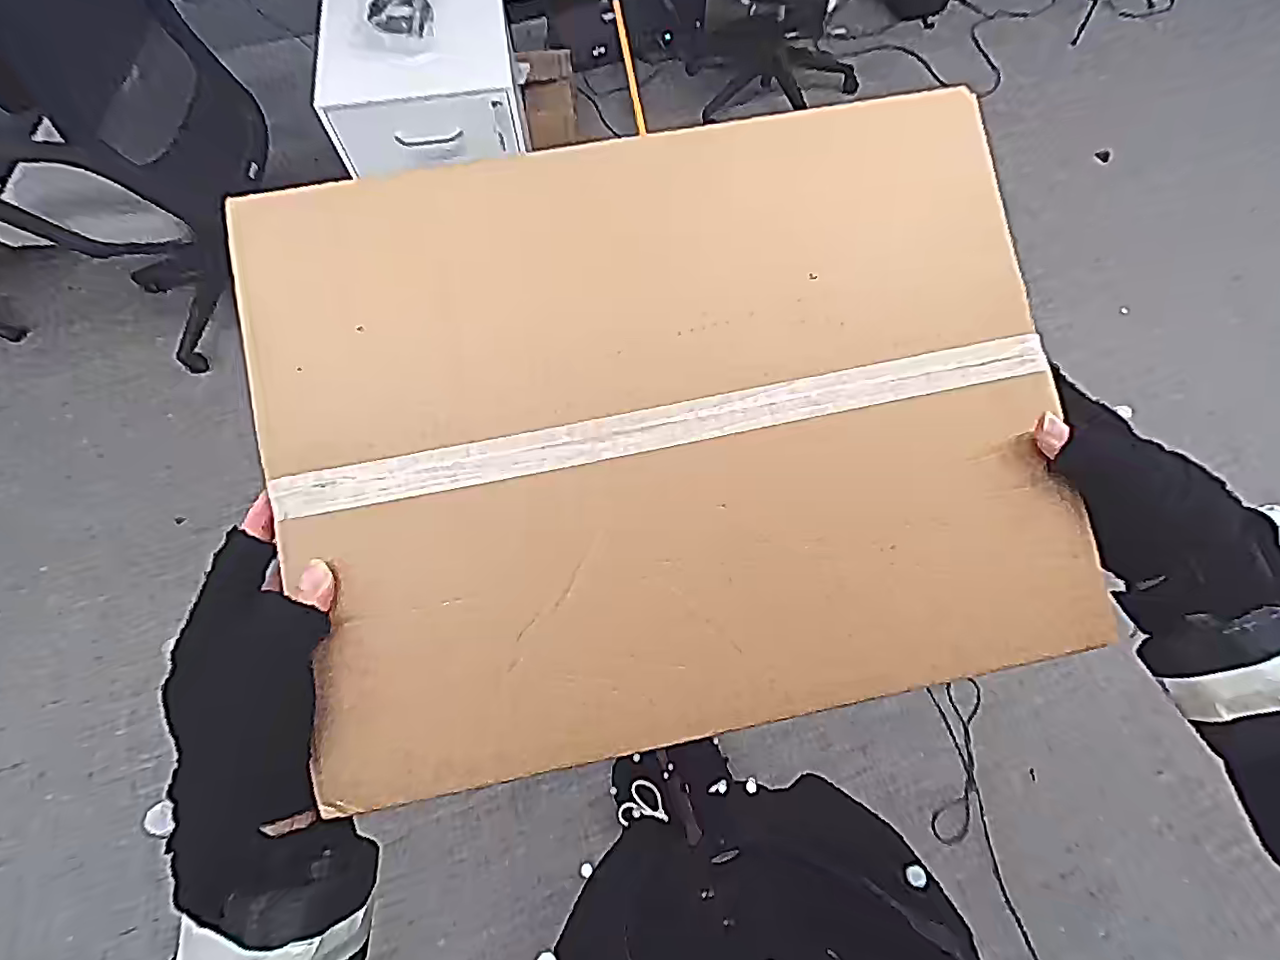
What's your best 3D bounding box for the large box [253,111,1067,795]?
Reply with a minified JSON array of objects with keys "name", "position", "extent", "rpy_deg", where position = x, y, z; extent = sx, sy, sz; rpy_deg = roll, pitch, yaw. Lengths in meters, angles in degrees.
[{"name":"large box","position":[0.008,-0.018,0.441],"extent":[0.408,0.320,0.320],"rpy_deg":[-11,85,-4]}]
